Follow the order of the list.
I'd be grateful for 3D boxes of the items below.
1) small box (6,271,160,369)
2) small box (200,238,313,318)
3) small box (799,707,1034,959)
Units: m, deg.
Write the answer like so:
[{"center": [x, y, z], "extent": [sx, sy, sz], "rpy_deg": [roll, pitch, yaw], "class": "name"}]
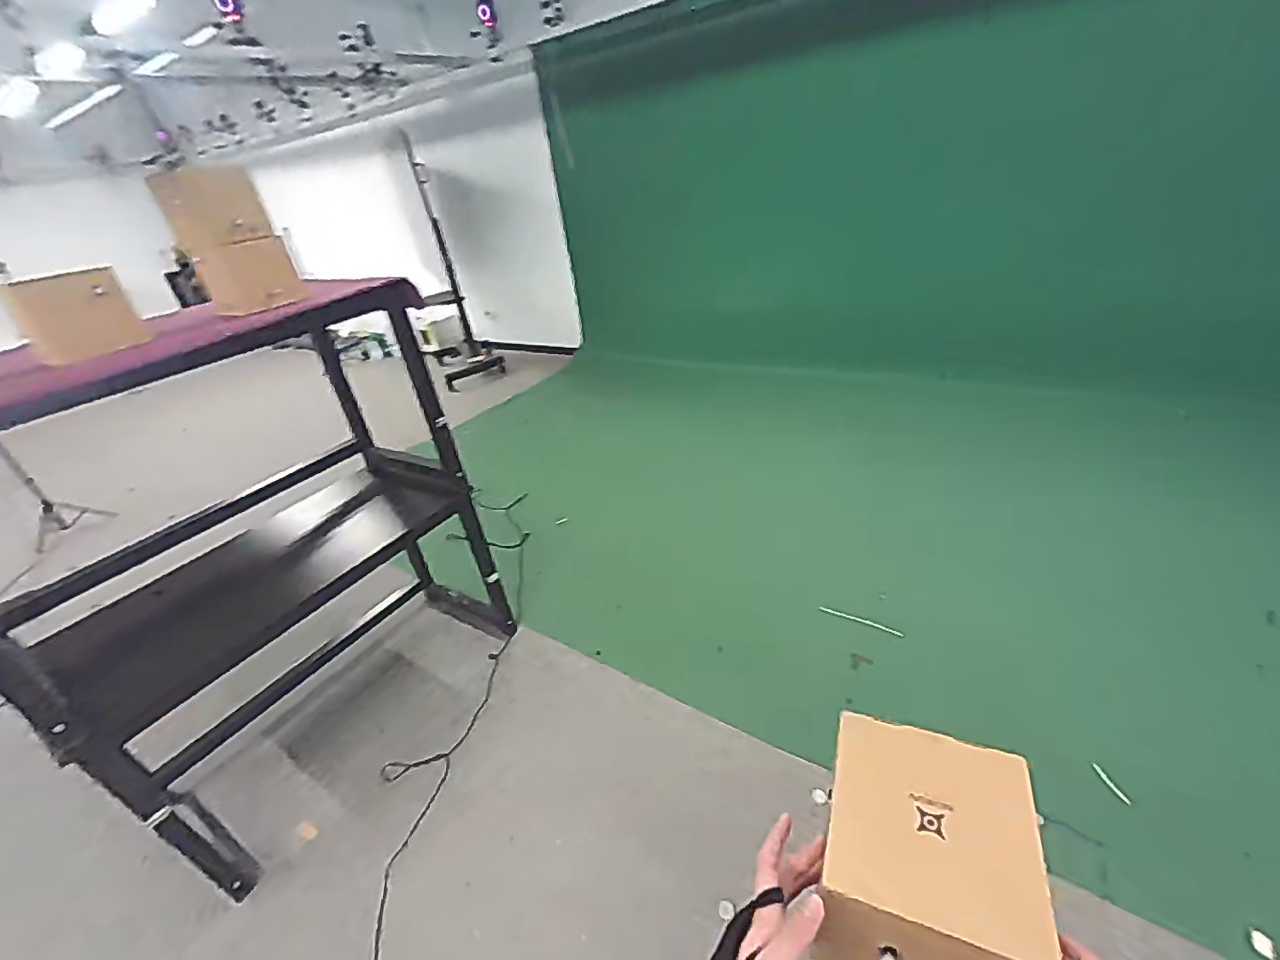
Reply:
[{"center": [-1.225, -0.360, 1.205], "extent": [0.168, 0.176, 0.179], "rpy_deg": [12, 37, 33], "class": "small box"}, {"center": [-1.023, -0.544, 1.459], "extent": [0.168, 0.176, 0.179], "rpy_deg": [10, 35, 33], "class": "small box"}, {"center": [0.249, 0.361, 0.519], "extent": [0.168, 0.176, 0.179], "rpy_deg": [7, 34, 22], "class": "small box"}]
